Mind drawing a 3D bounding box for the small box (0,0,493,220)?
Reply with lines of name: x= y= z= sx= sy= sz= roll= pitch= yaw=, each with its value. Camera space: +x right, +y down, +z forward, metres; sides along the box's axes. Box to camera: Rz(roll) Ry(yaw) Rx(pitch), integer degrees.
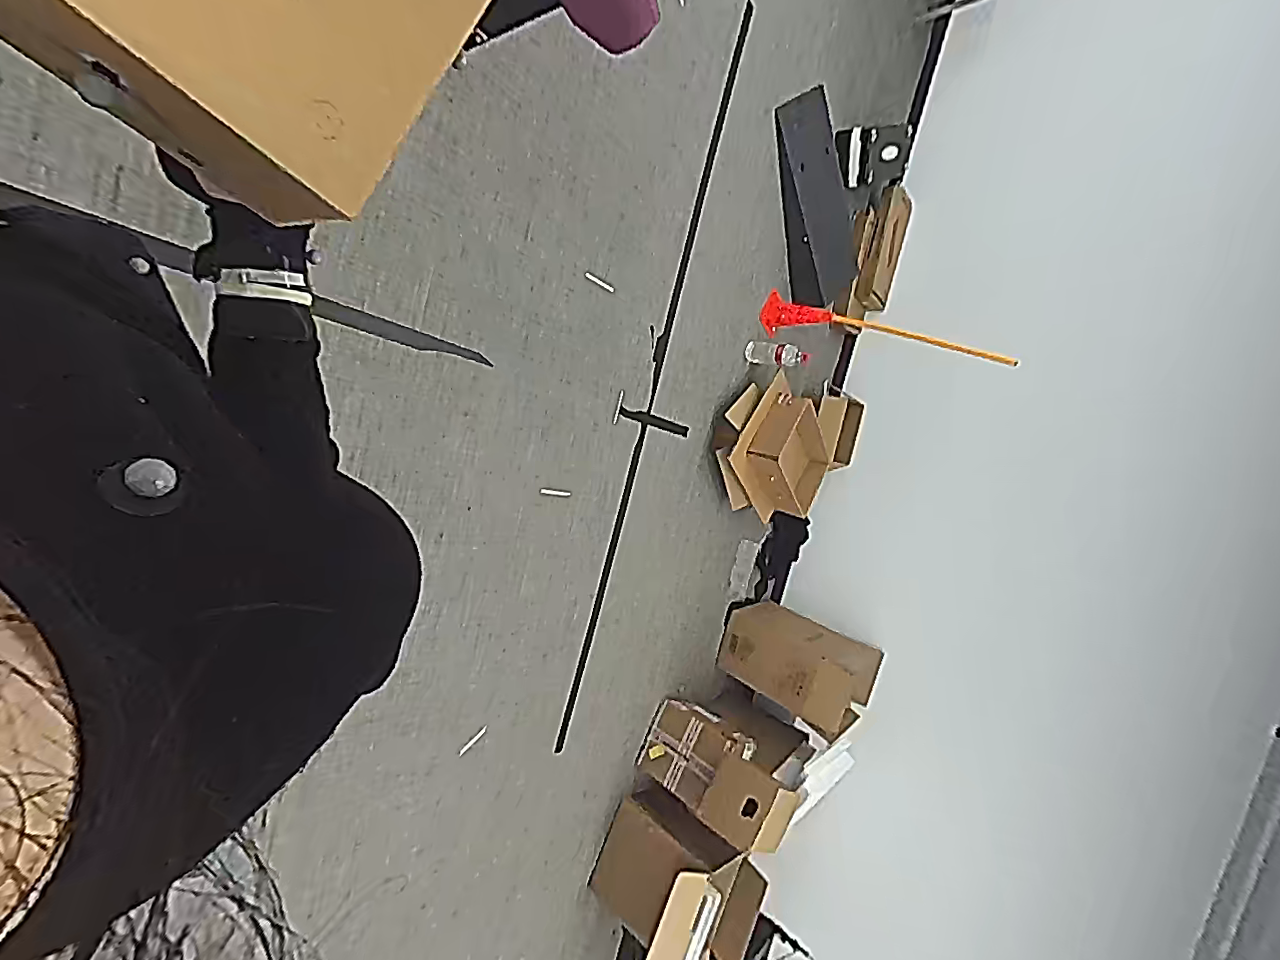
small box: x=-0.221 y=-0.273 z=0.306 sx=0.168 sy=0.176 sz=0.179 roll=33 pitch=80 yaw=-49
